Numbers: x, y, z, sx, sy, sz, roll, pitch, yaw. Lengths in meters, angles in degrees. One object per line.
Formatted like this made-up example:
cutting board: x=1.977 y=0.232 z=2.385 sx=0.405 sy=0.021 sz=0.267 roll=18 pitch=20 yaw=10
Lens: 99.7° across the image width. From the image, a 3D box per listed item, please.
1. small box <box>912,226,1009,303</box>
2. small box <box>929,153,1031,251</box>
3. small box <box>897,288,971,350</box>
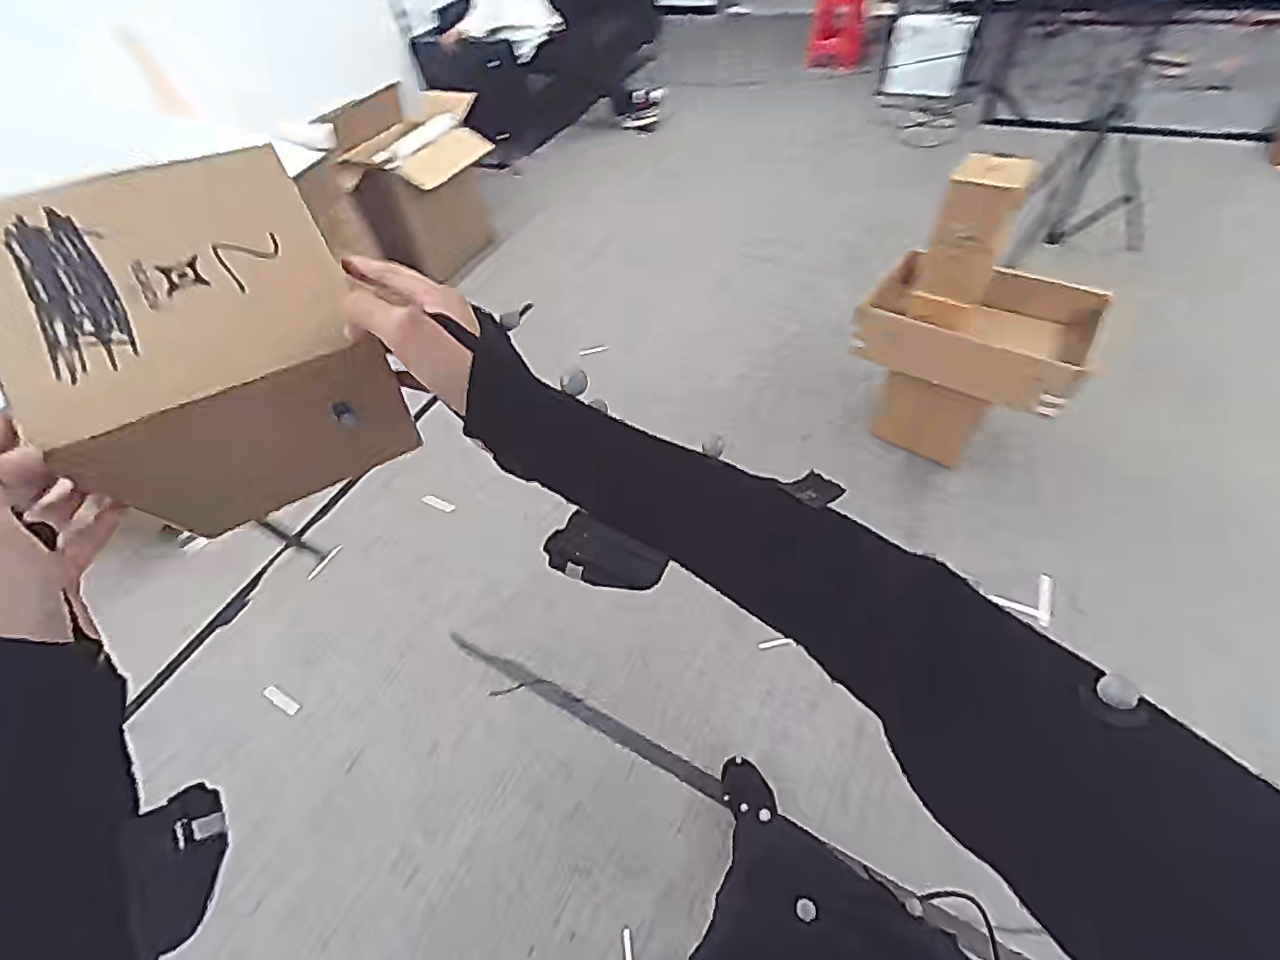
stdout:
small box: x=0.927 y=-0.644 z=1.581 sx=0.179 sy=0.176 sz=0.168 roll=28 pitch=60 yaw=25
small box: x=0.906 y=-0.747 z=1.455 sx=0.168 sy=0.176 sz=0.179 roll=26 pitch=58 yaw=25
small box: x=0.936 y=-0.539 z=1.708 sx=0.168 sy=0.176 sz=0.179 roll=27 pitch=59 yaw=25
